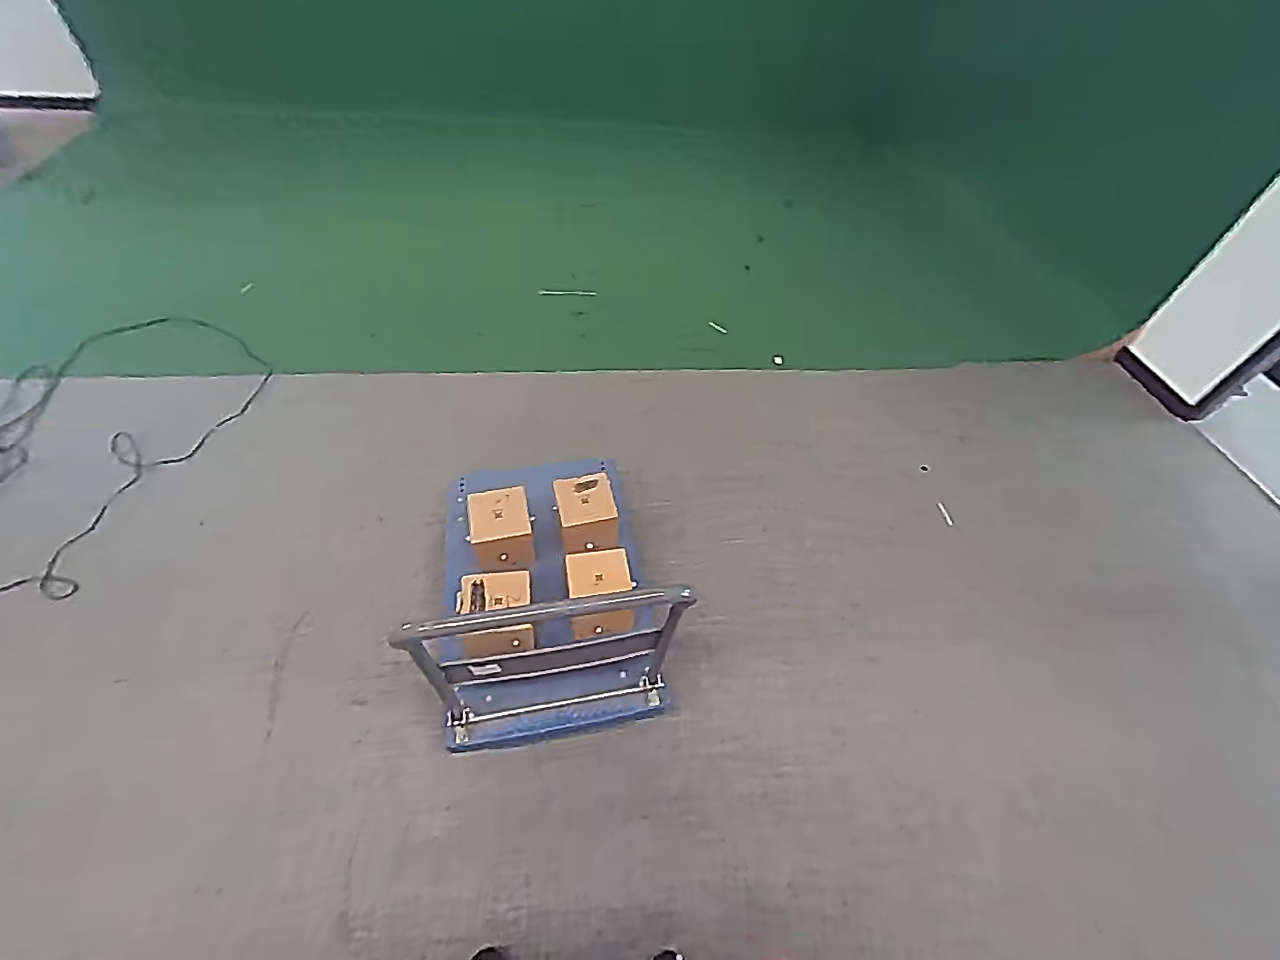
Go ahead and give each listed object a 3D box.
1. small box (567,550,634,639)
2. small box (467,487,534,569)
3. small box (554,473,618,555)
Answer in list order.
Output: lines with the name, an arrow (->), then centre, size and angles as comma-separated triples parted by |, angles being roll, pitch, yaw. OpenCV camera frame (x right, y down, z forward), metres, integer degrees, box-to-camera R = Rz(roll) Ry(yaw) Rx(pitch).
small box -> -0.115, 0.316, 1.497 | 0.168, 0.176, 0.179 | -6, 52, -10
small box -> -0.411, 0.149, 1.603 | 0.168, 0.176, 0.179 | -9, 53, -13
small box -> -0.169, 0.107, 1.659 | 0.168, 0.176, 0.179 | -10, 54, -12
